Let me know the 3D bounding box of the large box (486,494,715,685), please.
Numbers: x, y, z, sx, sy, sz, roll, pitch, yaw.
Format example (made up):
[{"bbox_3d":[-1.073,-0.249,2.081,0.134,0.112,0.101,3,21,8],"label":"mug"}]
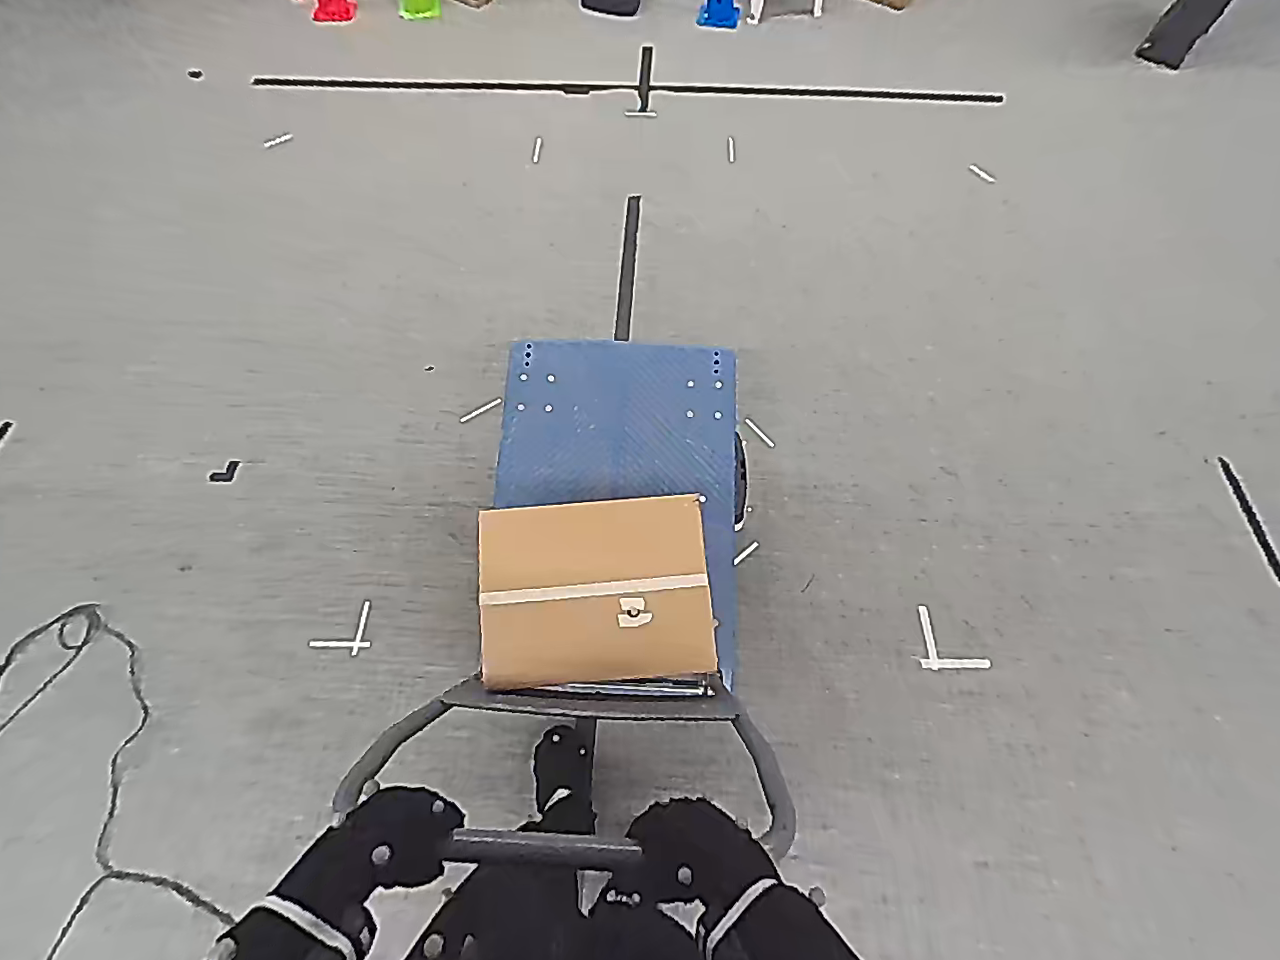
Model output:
[{"bbox_3d":[-0.081,0.226,1.123,0.408,0.320,0.320,-4,78,-2],"label":"large box"}]
